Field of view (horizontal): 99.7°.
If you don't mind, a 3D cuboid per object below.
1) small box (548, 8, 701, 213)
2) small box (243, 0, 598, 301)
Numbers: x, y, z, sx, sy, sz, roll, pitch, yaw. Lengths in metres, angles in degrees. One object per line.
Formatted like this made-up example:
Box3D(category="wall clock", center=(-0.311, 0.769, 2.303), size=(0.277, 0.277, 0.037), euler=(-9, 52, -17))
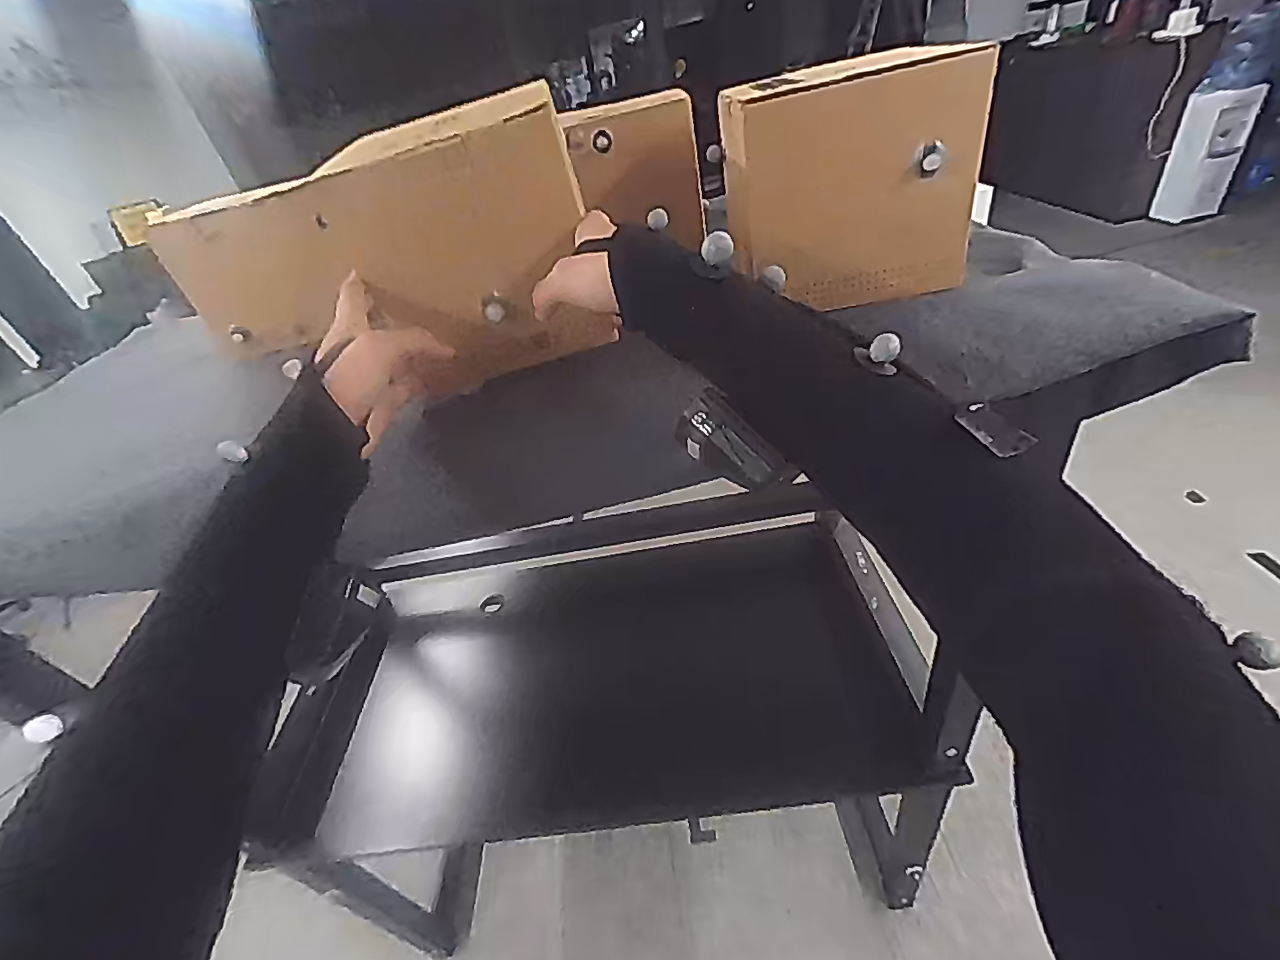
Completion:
Box3D(category="small box", center=(-0.024, -0.432, 0.648), size=(0.168, 0.176, 0.179), euler=(-10, 38, 5))
Box3D(category="small box", center=(-0.136, -0.262, 0.411), size=(0.168, 0.176, 0.179), euler=(-15, 42, 3))
